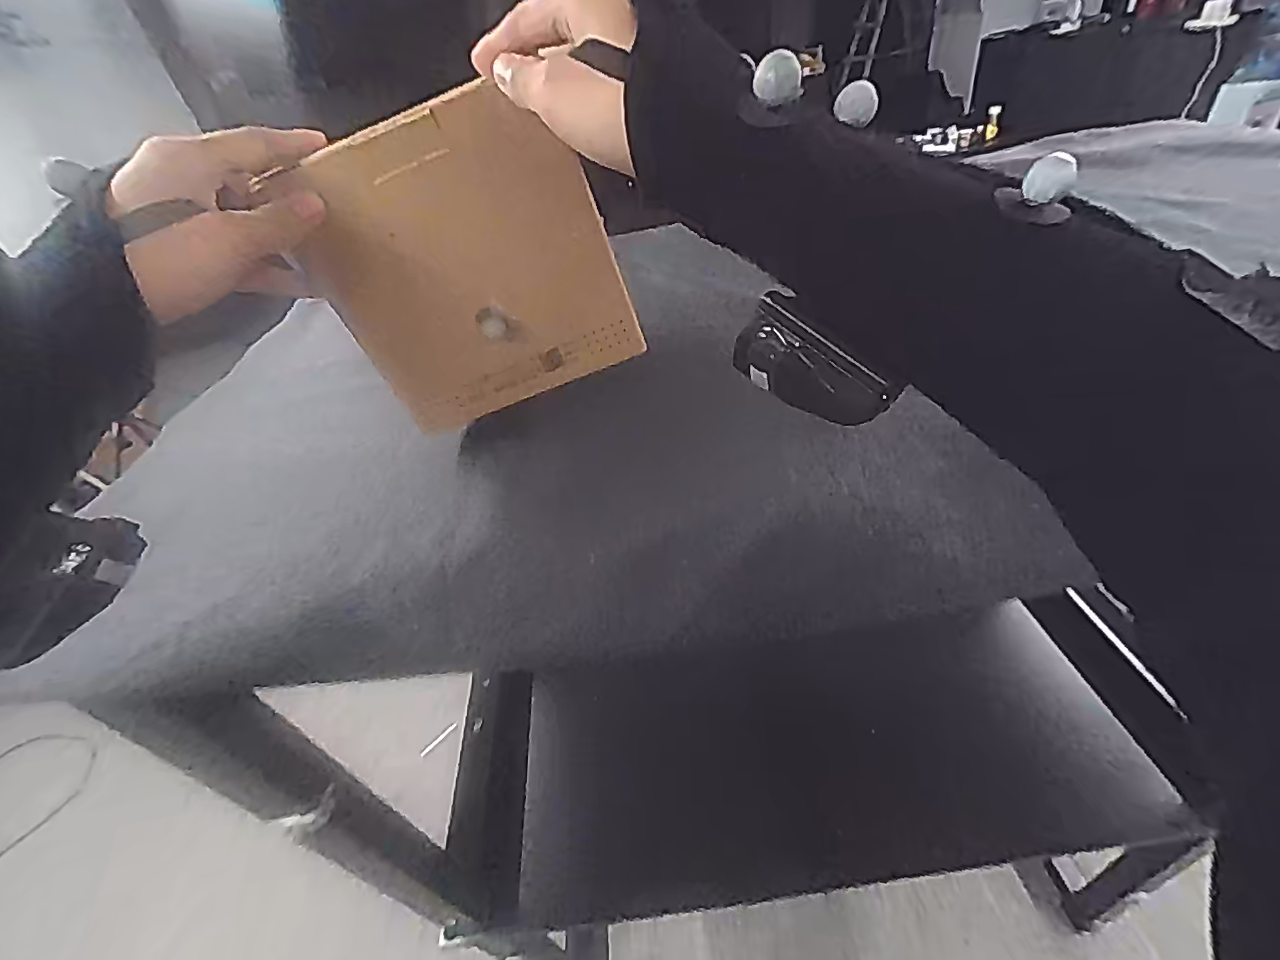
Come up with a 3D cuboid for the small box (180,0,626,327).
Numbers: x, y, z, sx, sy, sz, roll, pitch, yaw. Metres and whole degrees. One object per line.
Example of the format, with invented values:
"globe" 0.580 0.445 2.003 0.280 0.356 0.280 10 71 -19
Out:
"small box" -0.118 -0.224 0.350 0.168 0.176 0.179 -20 38 5
